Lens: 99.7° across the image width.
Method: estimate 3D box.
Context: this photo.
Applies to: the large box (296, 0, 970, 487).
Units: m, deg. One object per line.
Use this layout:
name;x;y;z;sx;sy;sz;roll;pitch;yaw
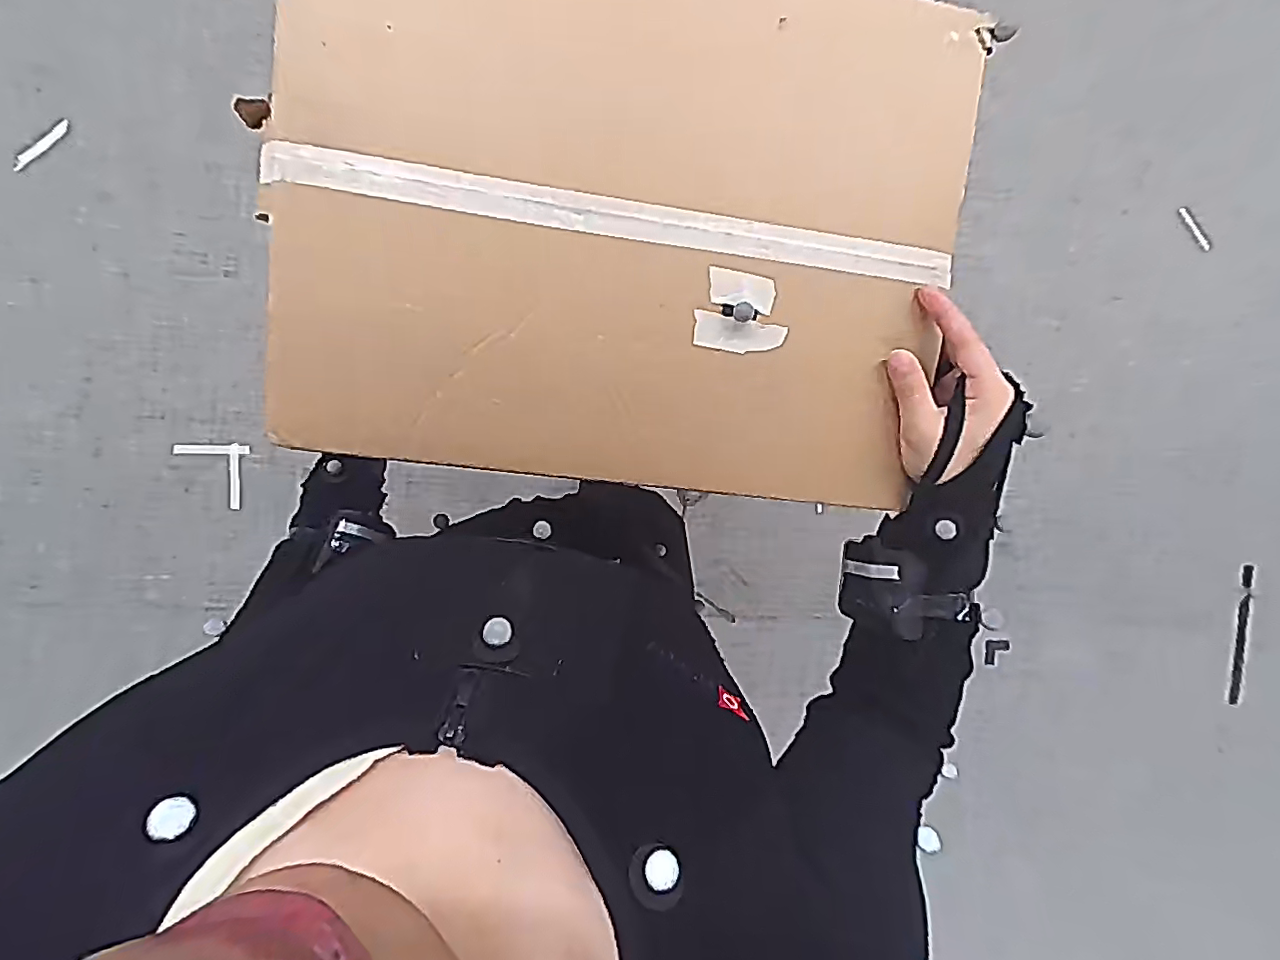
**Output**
large box;-0.018;-0.178;0.480;0.408;0.320;0.320;5;97;-9
